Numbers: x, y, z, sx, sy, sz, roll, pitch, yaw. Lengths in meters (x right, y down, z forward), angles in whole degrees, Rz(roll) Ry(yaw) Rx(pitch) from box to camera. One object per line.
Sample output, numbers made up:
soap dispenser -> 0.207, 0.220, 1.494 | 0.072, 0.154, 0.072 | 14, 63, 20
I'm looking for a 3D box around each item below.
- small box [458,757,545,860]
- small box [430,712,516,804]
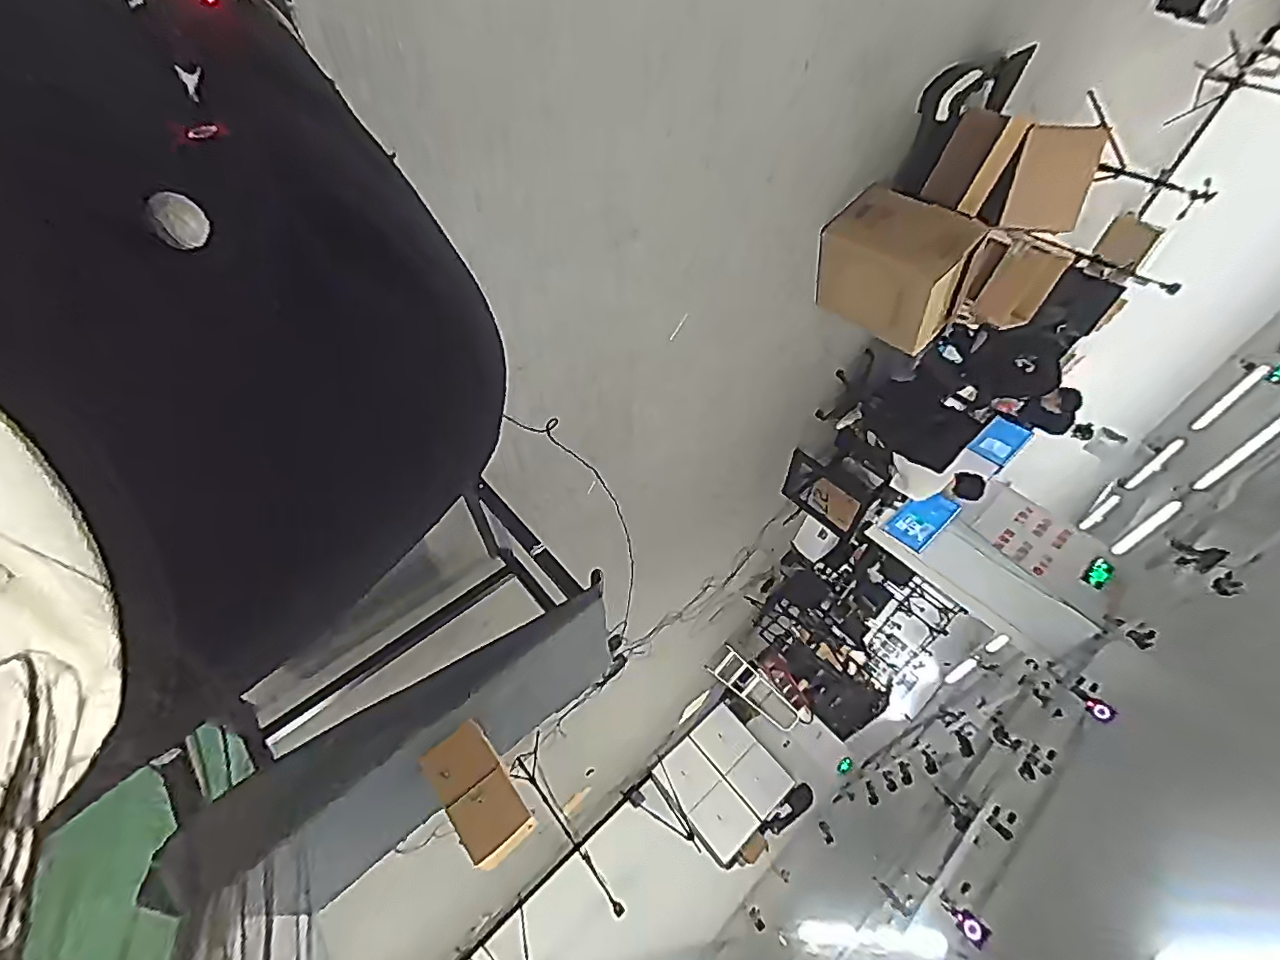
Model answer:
small box -> -0.397, 0.933, 1.536 | 0.179, 0.176, 0.168 | -33, 150, -25
small box -> -0.503, 0.836, 1.615 | 0.179, 0.176, 0.168 | -36, 152, -24
